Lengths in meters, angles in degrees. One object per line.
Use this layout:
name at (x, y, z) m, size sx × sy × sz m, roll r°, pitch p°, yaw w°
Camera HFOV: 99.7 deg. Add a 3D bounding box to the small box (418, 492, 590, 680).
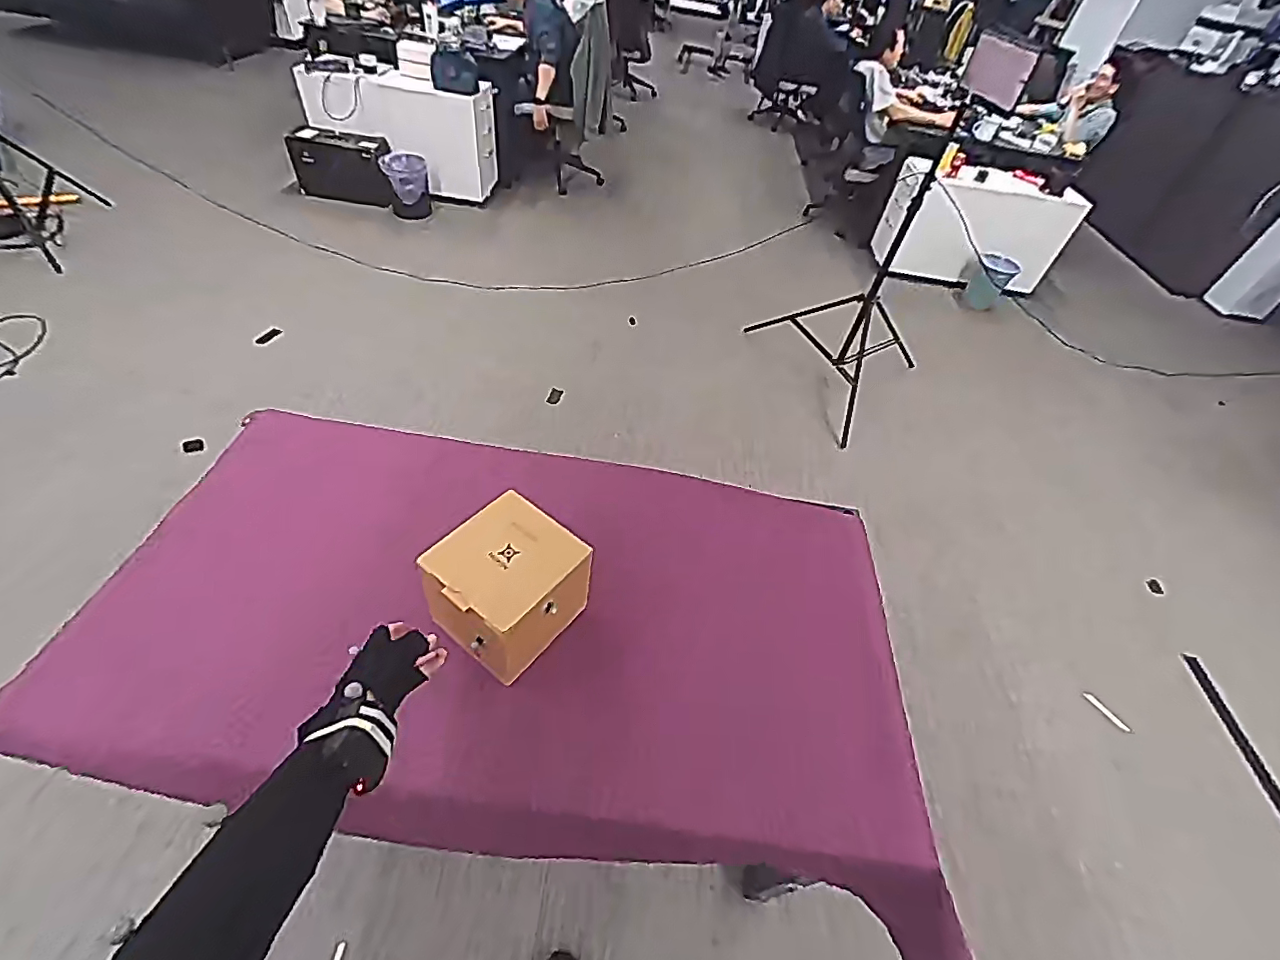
small box at (-0.191, 0.159, 0.800) m, size 0.168 × 0.176 × 0.179 m, roll 33°, pitch 50°, yaw 19°
